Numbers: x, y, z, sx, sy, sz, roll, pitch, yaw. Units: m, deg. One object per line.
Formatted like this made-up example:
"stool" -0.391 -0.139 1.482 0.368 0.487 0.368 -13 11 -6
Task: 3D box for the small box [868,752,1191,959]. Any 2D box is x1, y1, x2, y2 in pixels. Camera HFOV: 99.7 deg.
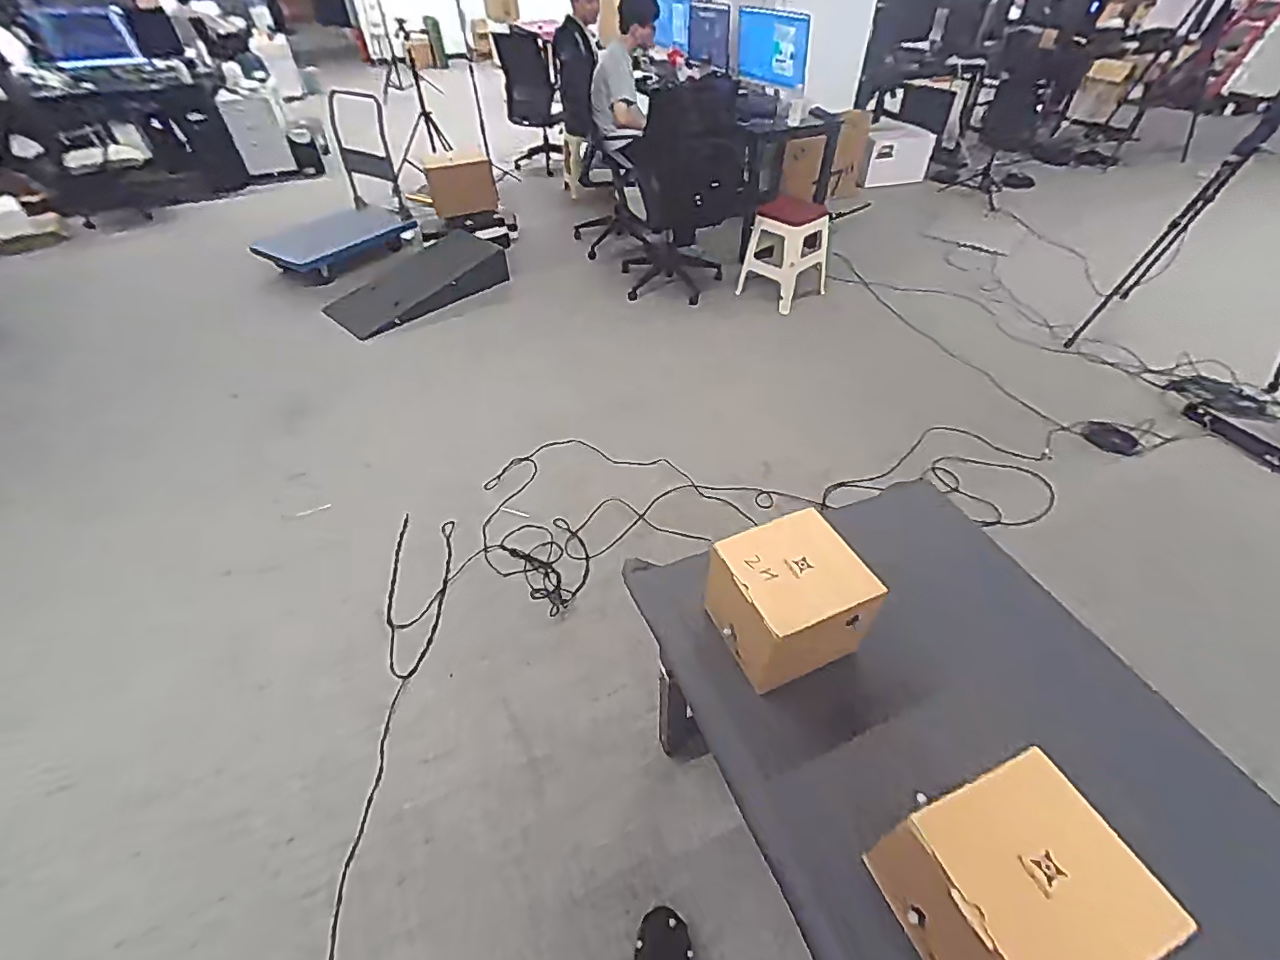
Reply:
"small box" 0.371 0.418 0.556 0.179 0.176 0.168 -17 48 -15

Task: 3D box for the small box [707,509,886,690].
"small box" 0.214 0.175 0.794 0.179 0.176 0.168 -17 48 -16
